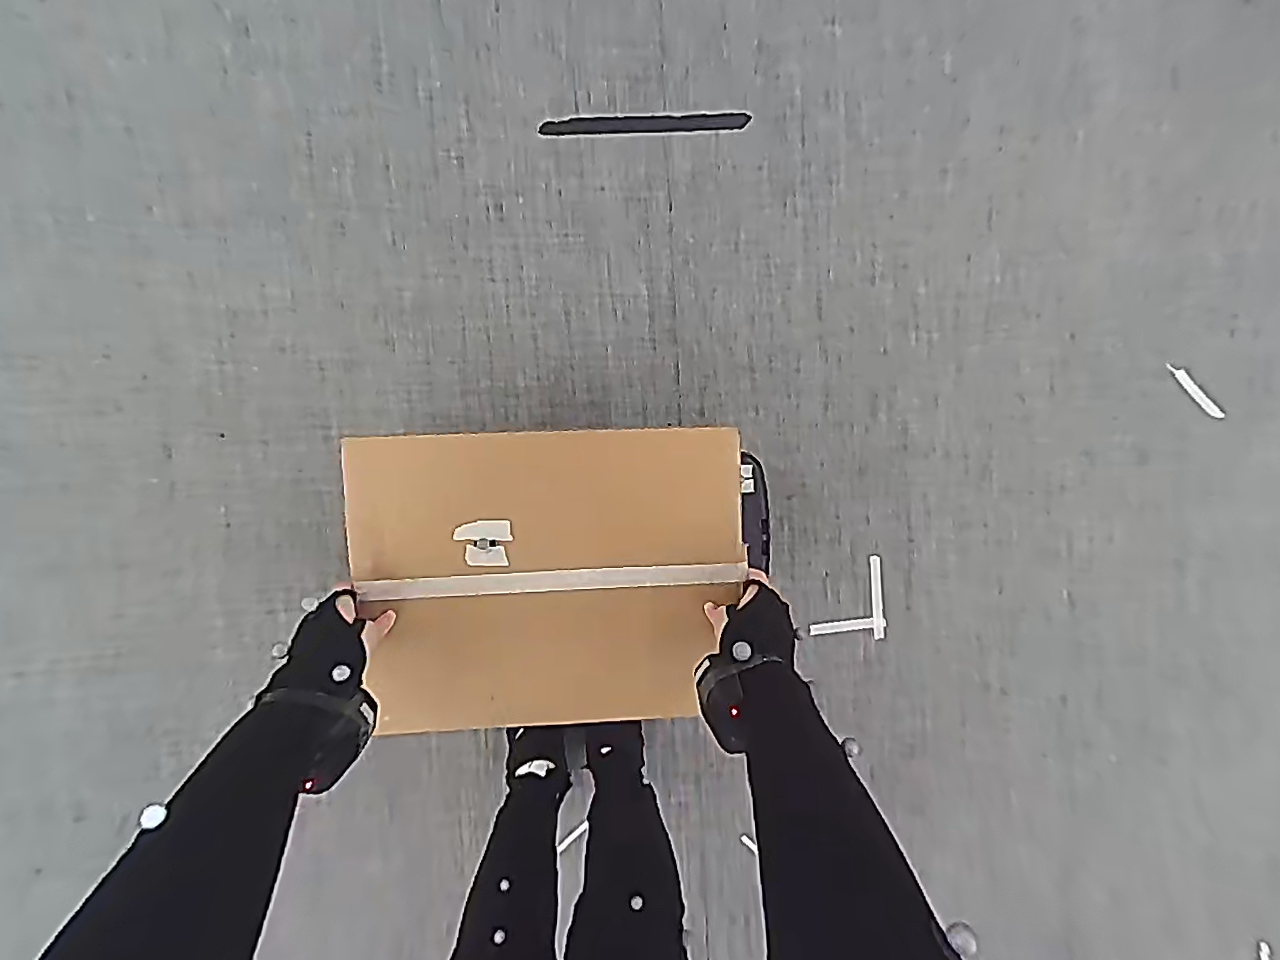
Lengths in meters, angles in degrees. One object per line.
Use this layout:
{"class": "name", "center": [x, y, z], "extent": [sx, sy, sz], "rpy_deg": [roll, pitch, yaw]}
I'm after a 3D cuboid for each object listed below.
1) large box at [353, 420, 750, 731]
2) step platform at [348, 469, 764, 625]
{"class": "large box", "center": [-0.091, 0.091, 0.710], "extent": [0.408, 0.320, 0.320], "rpy_deg": [-2, 93, -2]}
{"class": "step platform", "center": [-0.132, 0.102, 0.947], "extent": [0.684, 0.204, 0.286], "rpy_deg": [3, 94, -3]}
